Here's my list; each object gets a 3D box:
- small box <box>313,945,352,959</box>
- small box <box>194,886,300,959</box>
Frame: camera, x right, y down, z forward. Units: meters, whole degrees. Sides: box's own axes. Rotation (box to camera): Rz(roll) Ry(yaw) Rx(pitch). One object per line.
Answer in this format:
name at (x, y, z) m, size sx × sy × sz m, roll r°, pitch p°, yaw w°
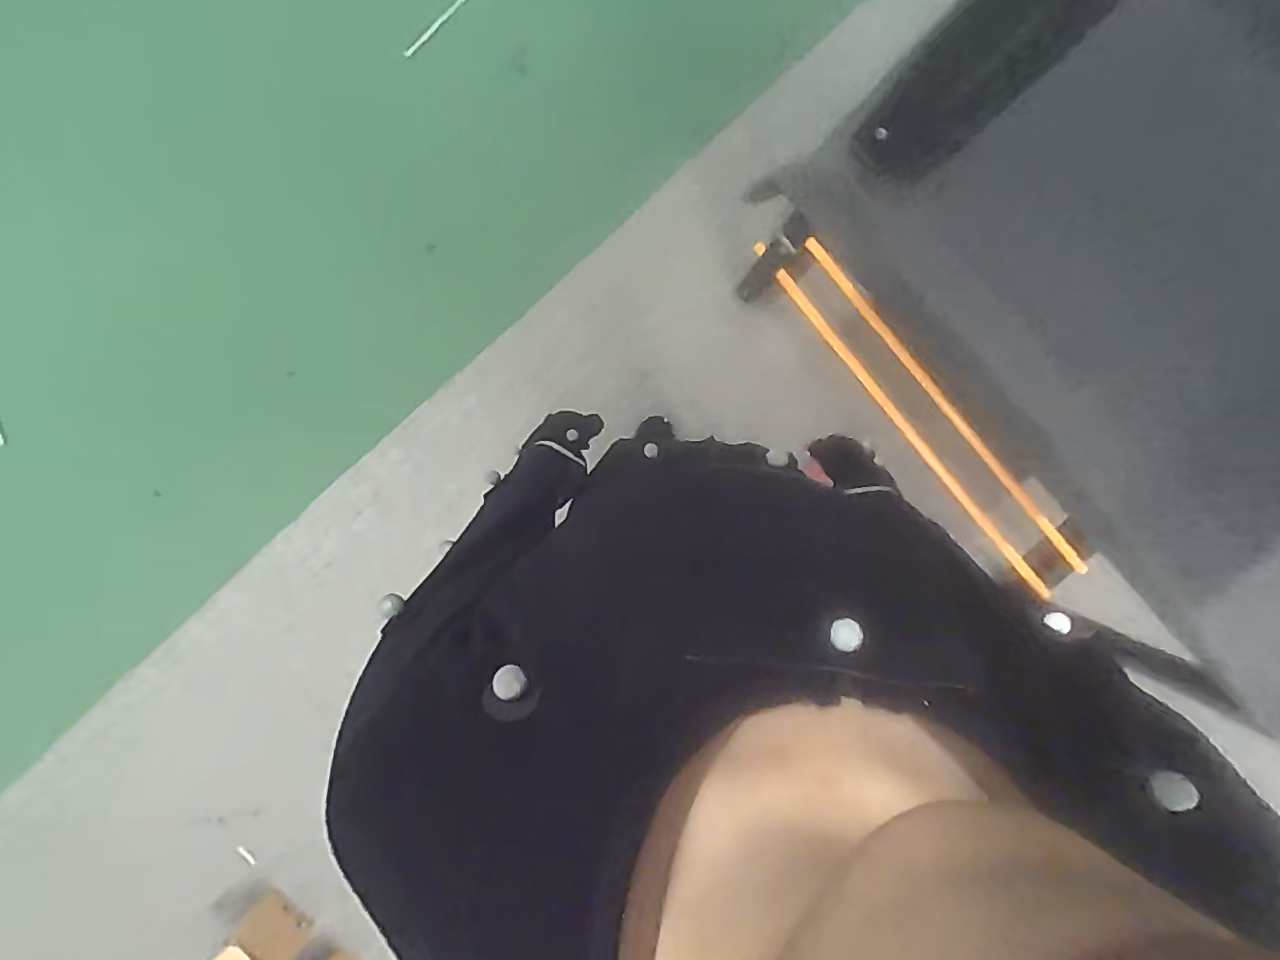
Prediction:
small box at (-0.918, 1.495, 1.534) m, size 0.179 × 0.176 × 0.168 m, roll -41°, pitch 95°, yaw 3°
small box at (-1.096, 1.298, 1.509) m, size 0.179 × 0.176 × 0.168 m, roll -41°, pitch 95°, yaw 4°
